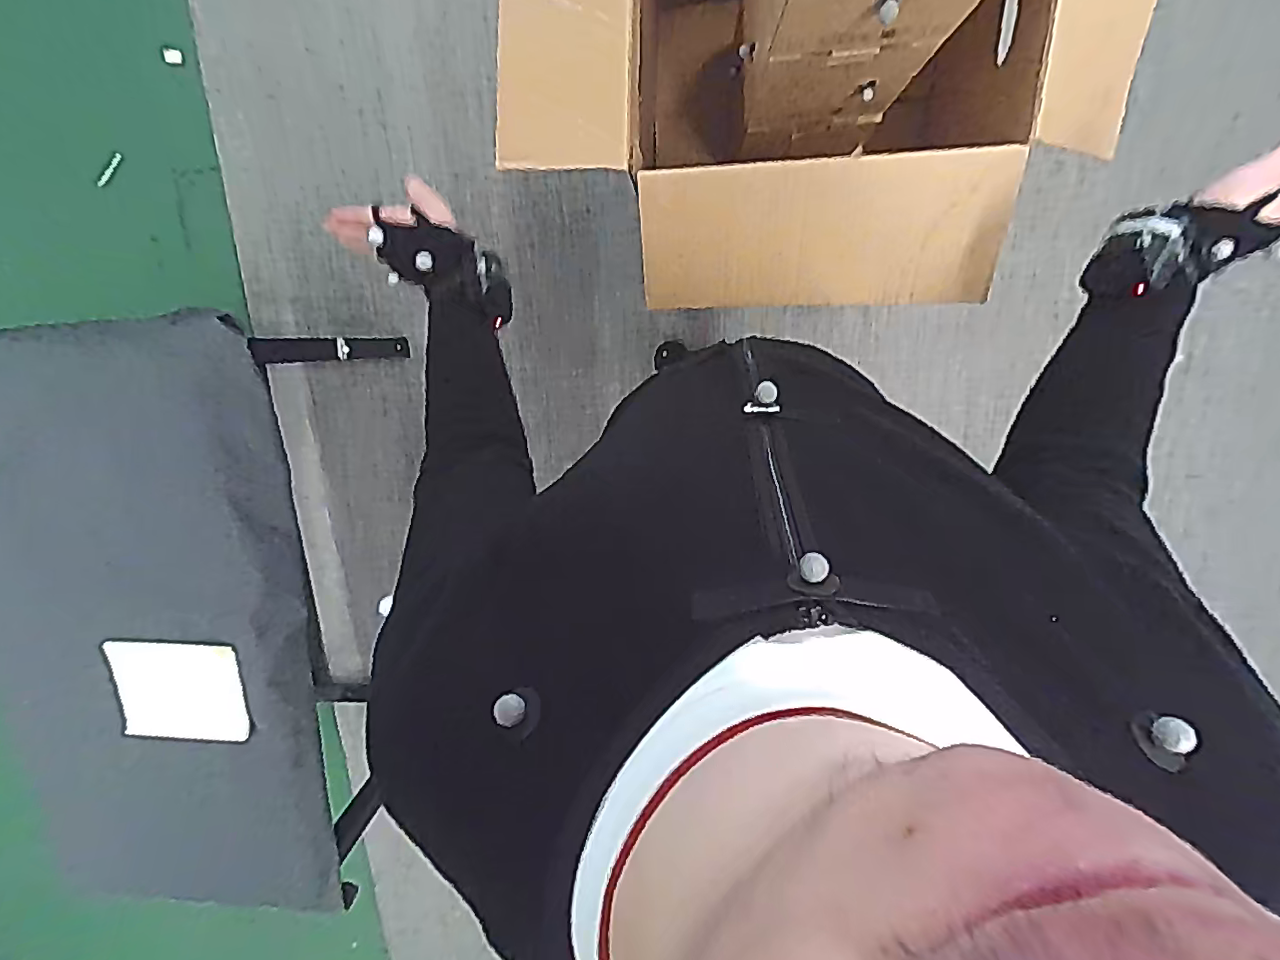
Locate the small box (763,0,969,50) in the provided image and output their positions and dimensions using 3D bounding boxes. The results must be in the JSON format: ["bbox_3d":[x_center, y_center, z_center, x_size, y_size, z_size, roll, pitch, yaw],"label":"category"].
[{"bbox_3d":[0.188,-0.462,0.407,0.168,0.176,0.179,-3,104,3],"label":"small box"}]
